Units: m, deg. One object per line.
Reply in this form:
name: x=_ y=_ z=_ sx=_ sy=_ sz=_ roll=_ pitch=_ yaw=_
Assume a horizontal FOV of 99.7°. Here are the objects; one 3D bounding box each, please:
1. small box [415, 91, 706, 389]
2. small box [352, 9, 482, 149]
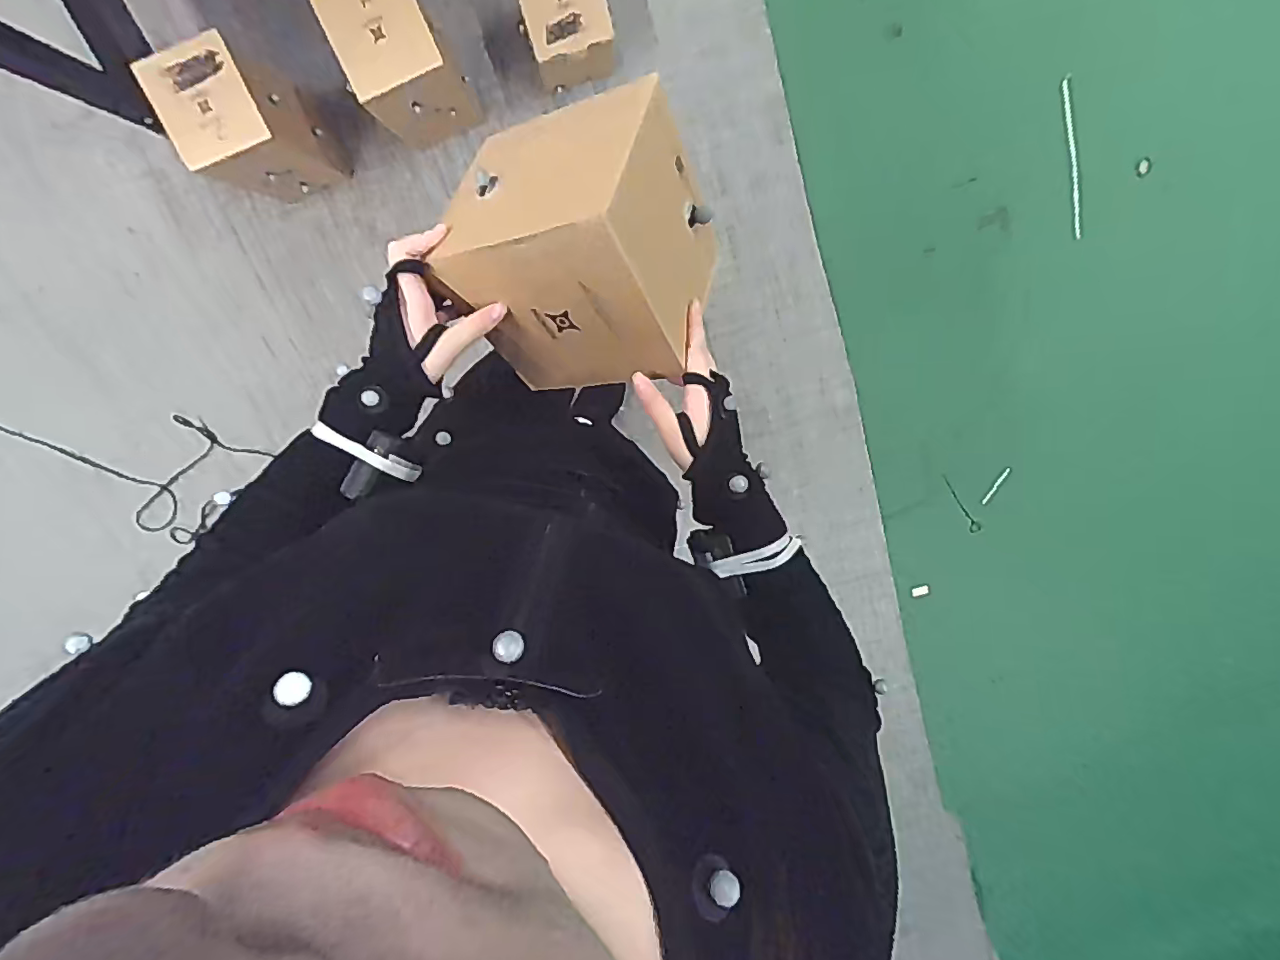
small box: x=-0.056 y=-0.203 z=0.491 sx=0.179 sy=0.176 sz=0.168 roll=0 pitch=151 yaw=27
small box: x=-0.467 y=-0.845 z=1.161 sx=0.179 sy=0.176 sz=0.168 roll=-20 pitch=107 yaw=3
